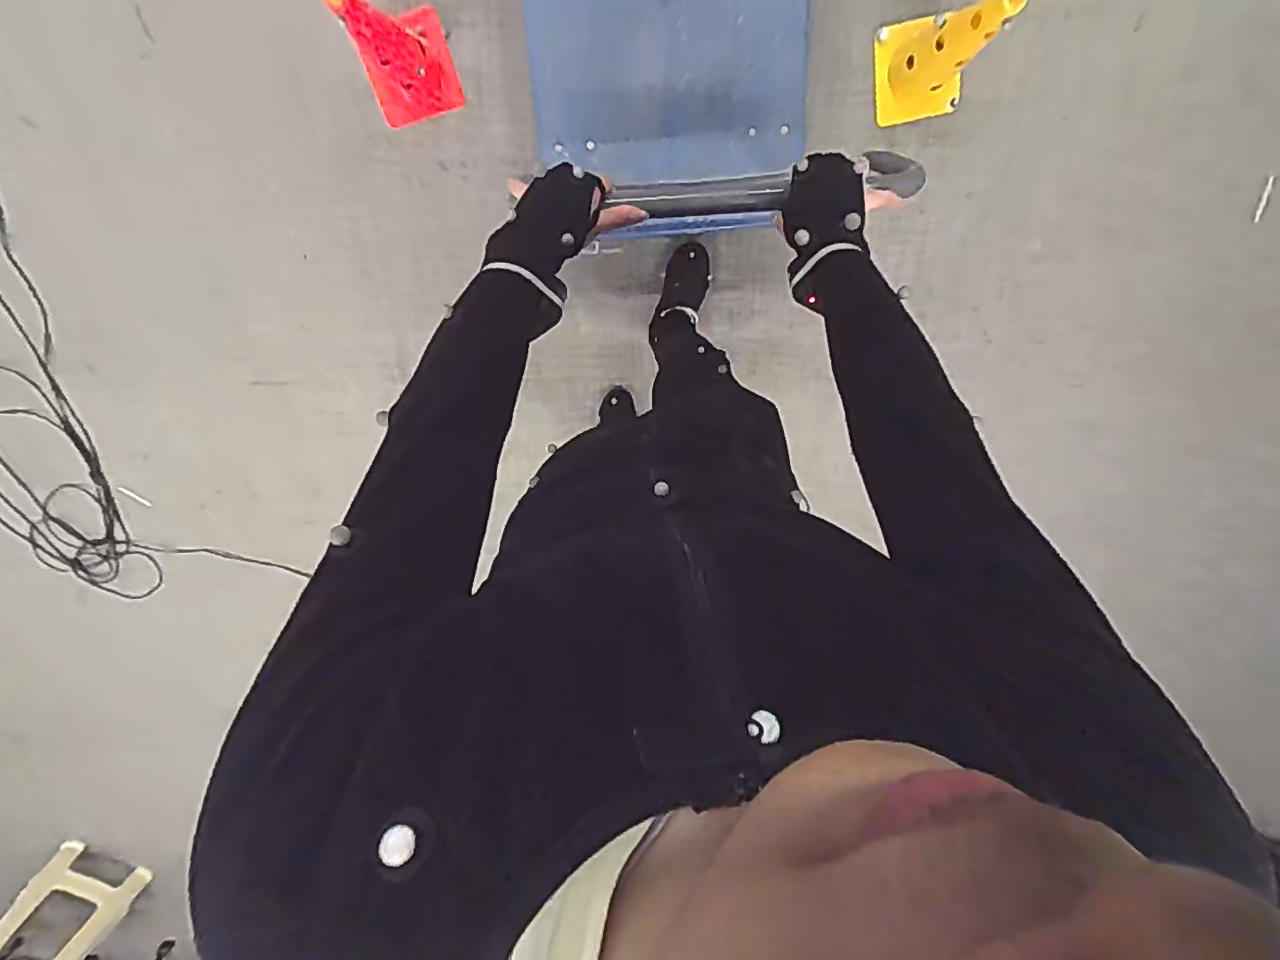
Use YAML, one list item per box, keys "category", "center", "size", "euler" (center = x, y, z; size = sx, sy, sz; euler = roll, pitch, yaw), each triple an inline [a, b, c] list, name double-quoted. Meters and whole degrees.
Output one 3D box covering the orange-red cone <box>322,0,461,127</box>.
- category: "orange-red cone"
  center: [-0.532, -0.887, 1.091]
  size: [0.199, 0.360, 0.198]
  euler: [-14, 110, 5]
